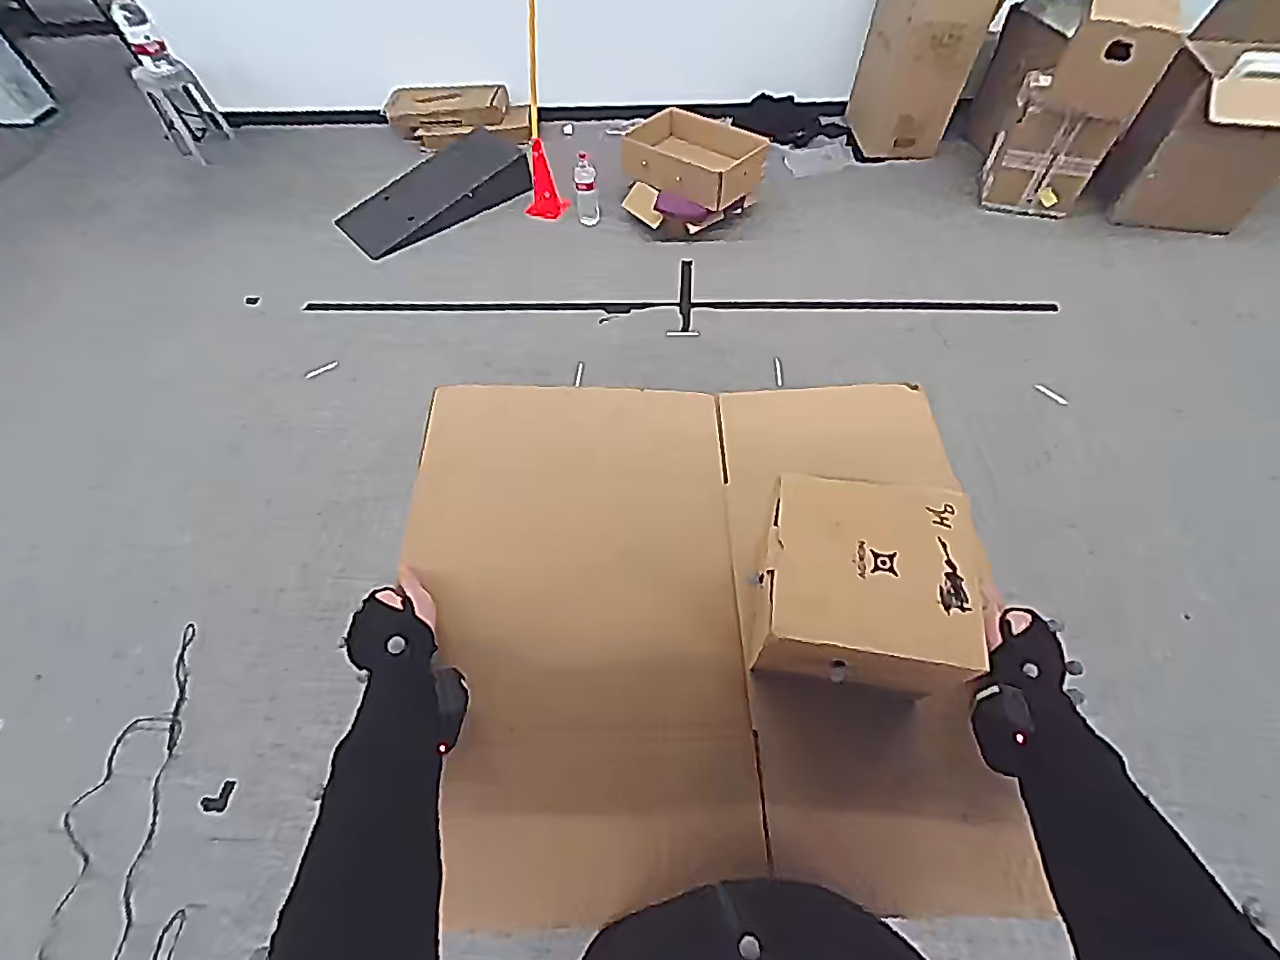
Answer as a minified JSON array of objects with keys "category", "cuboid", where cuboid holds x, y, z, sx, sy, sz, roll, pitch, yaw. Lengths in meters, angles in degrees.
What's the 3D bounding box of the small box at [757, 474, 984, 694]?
[{"category":"small box","cuboid":[0.219,0.113,0.561,0.179,0.176,0.168,7,61,10]}]
